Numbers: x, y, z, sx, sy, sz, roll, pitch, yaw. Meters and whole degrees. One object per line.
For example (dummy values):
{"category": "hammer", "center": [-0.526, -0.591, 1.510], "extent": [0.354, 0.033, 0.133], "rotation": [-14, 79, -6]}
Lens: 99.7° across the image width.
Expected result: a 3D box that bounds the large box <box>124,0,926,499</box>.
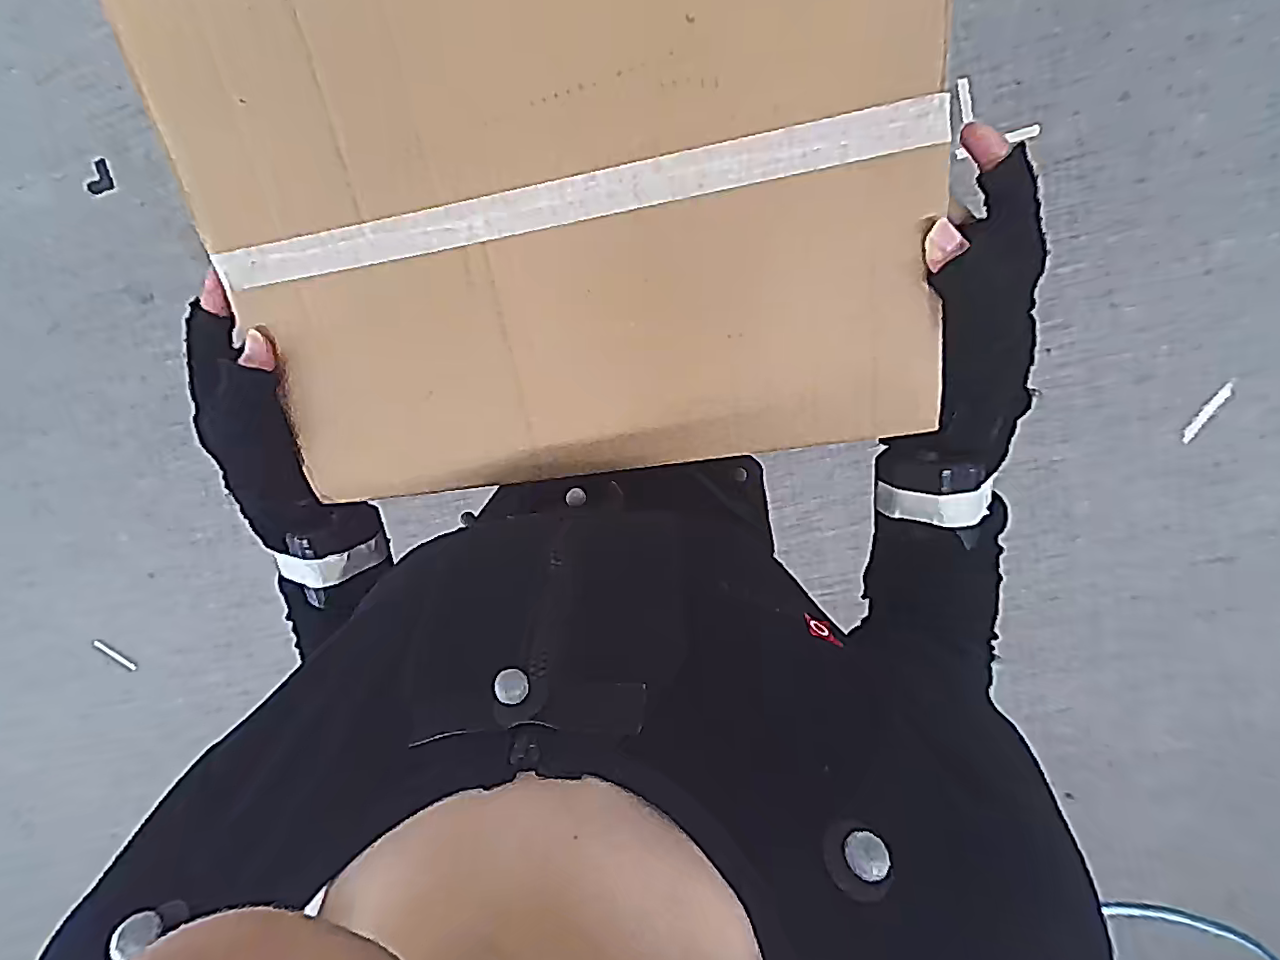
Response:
{"category": "large box", "center": [-0.035, -0.208, 0.437], "extent": [0.408, 0.320, 0.320], "rotation": [-7, 111, 9]}
